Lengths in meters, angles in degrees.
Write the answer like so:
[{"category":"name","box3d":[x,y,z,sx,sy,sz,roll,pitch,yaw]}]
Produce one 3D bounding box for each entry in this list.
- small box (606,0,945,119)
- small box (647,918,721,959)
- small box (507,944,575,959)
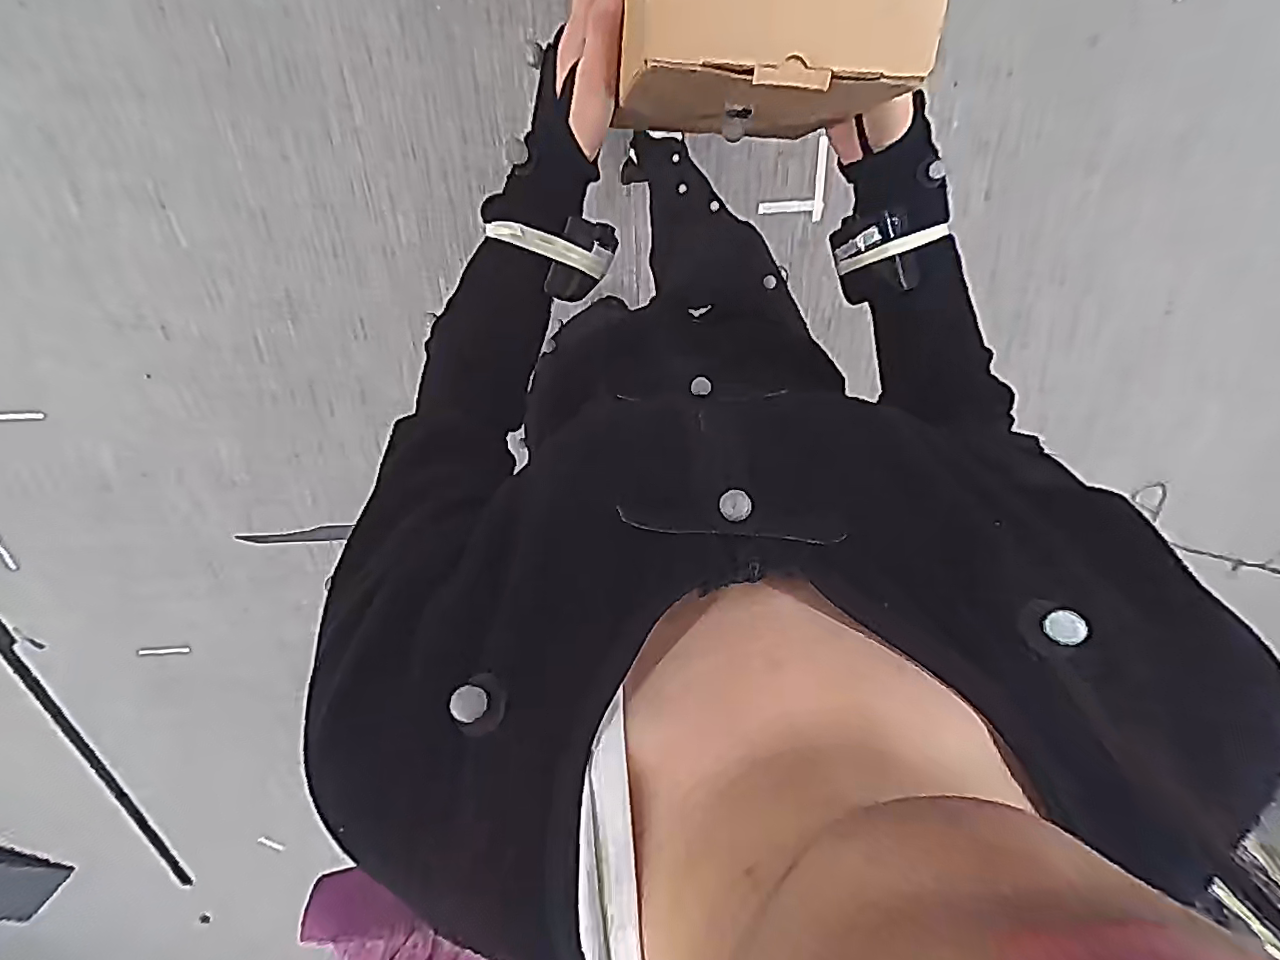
[{"category":"small box","box3d":[0.072,-0.337,0.328,0.168,0.176,0.179,-4,115,-11]},{"category":"small box","box3d":[0.108,1.201,1.316,0.168,0.176,0.179,-2,119,-5]},{"category":"small box","box3d":[-0.242,1.260,1.309,0.168,0.176,0.179,0,118,-6]}]
